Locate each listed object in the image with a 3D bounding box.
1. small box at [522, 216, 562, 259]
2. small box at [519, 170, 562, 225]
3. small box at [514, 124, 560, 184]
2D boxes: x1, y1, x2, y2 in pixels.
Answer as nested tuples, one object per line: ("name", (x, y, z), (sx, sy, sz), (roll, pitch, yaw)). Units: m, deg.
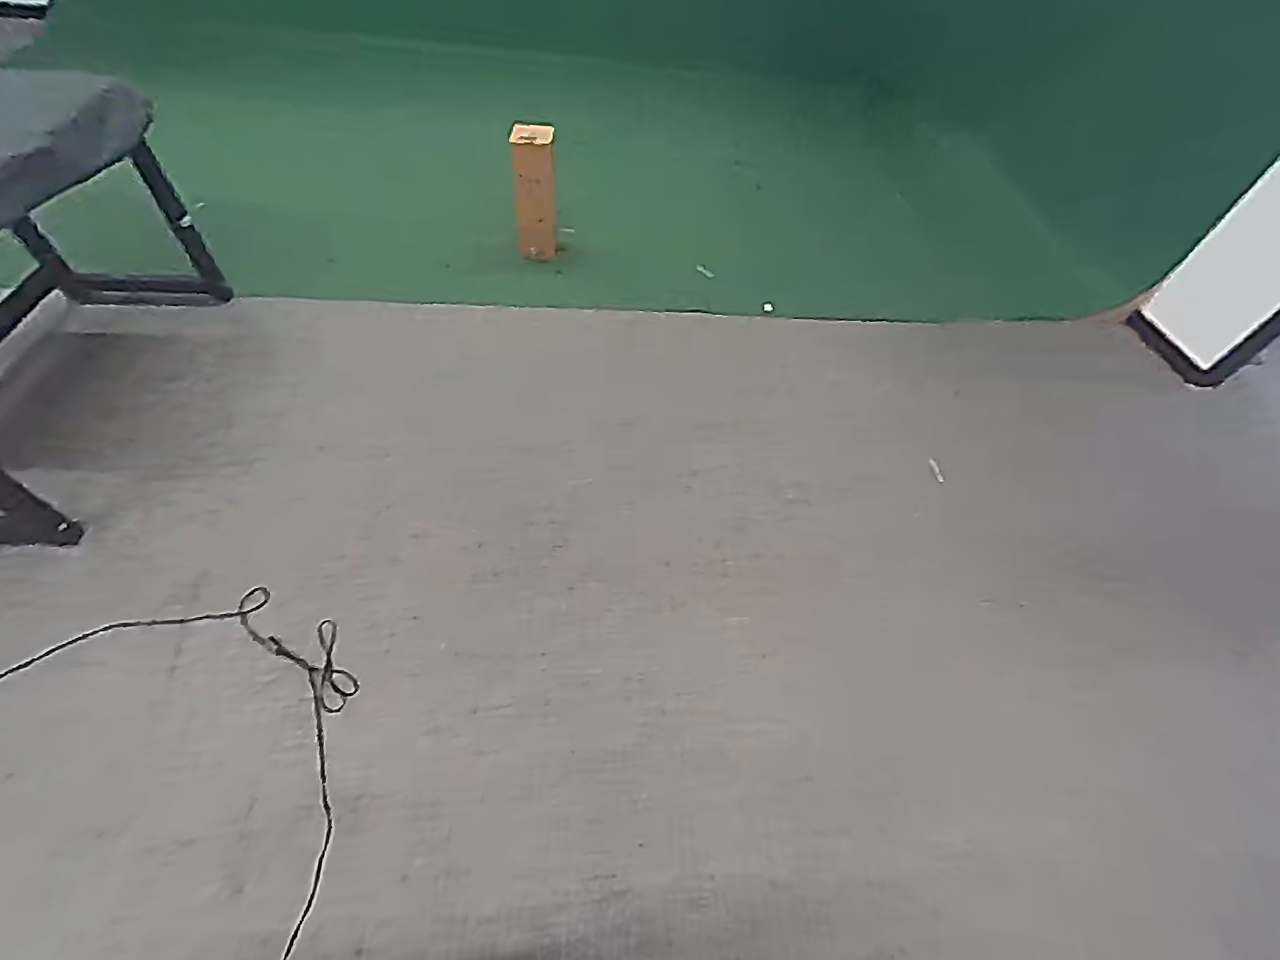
("small box", (-0.455, -1.163, 2.534), (0.168, 0.176, 0.179), (1, 54, -4))
("small box", (-0.439, -1.266, 2.408), (0.168, 0.176, 0.179), (2, 52, -4))
("small box", (-0.429, -1.372, 2.281), (0.168, 0.176, 0.179), (2, 51, -5))
